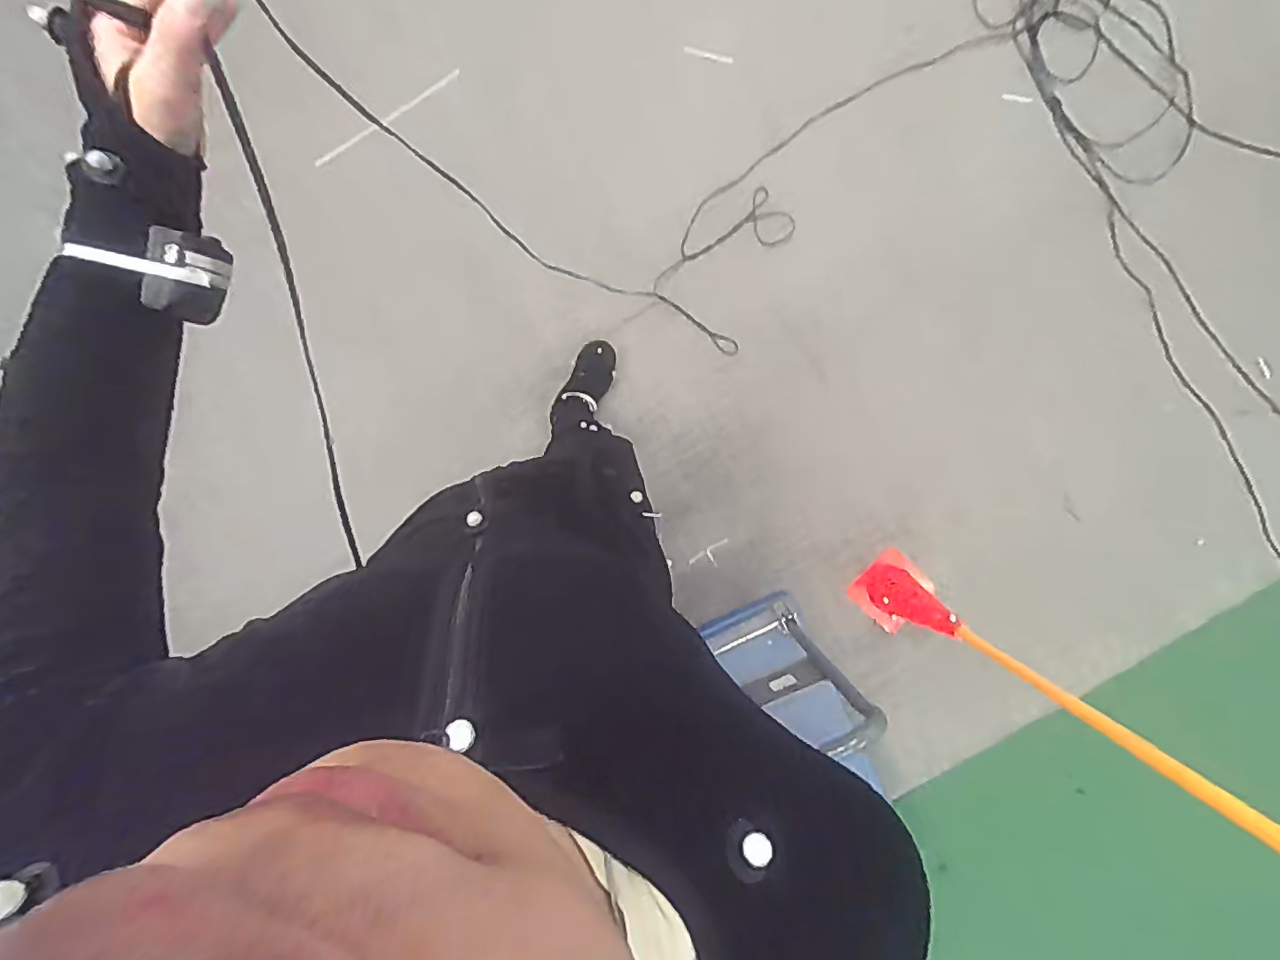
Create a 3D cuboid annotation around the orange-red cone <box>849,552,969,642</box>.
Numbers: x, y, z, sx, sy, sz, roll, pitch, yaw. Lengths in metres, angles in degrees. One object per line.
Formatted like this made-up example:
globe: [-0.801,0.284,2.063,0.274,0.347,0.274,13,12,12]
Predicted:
orange-red cone: [0.762,0.354,1.463,0.199,0.360,0.198,-45,95,1]
